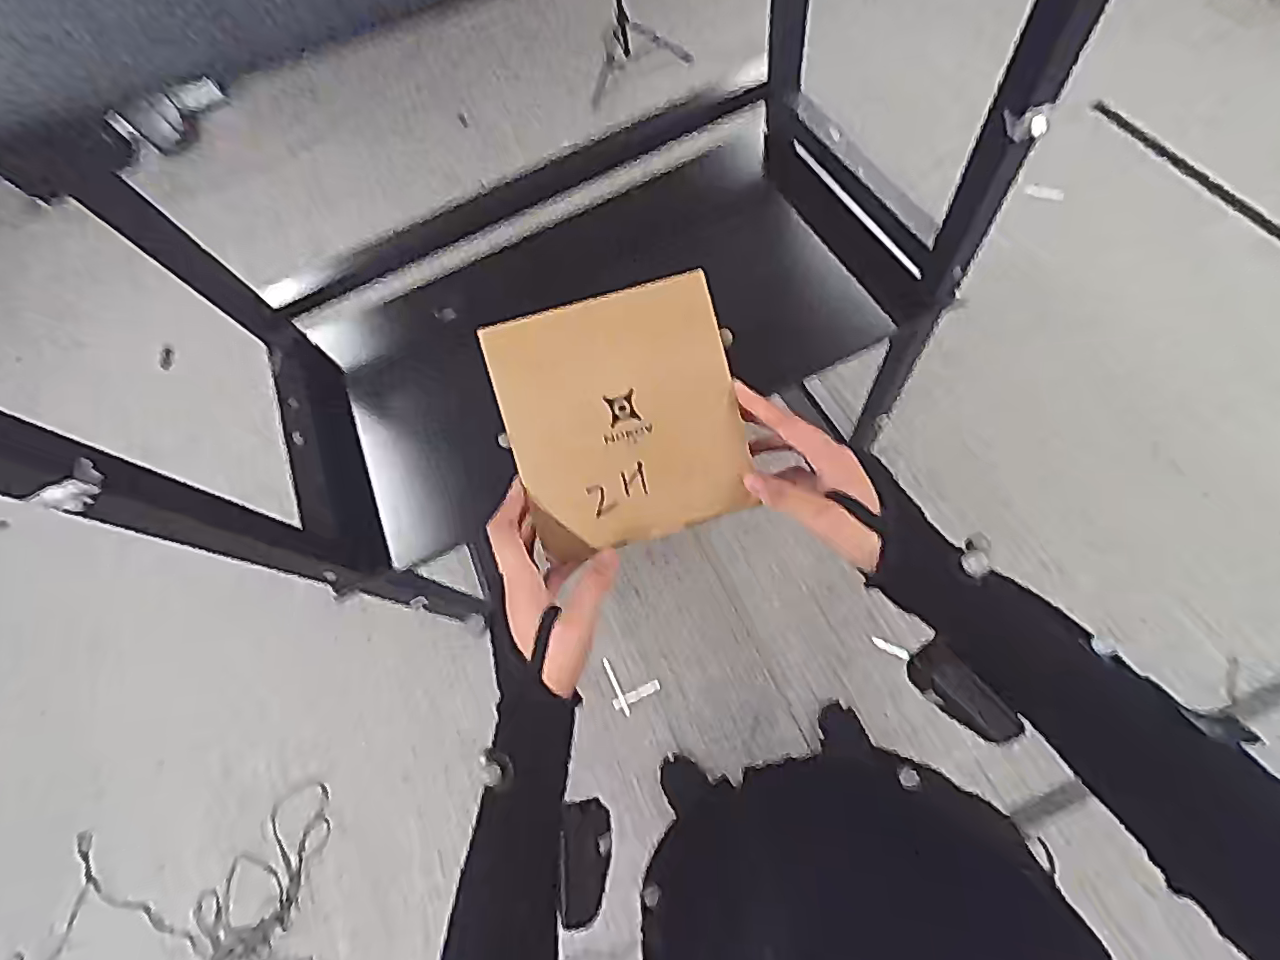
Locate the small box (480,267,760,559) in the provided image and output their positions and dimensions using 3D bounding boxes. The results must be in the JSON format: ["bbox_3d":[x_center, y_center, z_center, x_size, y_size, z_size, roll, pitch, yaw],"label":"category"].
[{"bbox_3d":[-0.016,-0.052,0.457,0.168,0.176,0.179,-15,96,-1],"label":"small box"}]
